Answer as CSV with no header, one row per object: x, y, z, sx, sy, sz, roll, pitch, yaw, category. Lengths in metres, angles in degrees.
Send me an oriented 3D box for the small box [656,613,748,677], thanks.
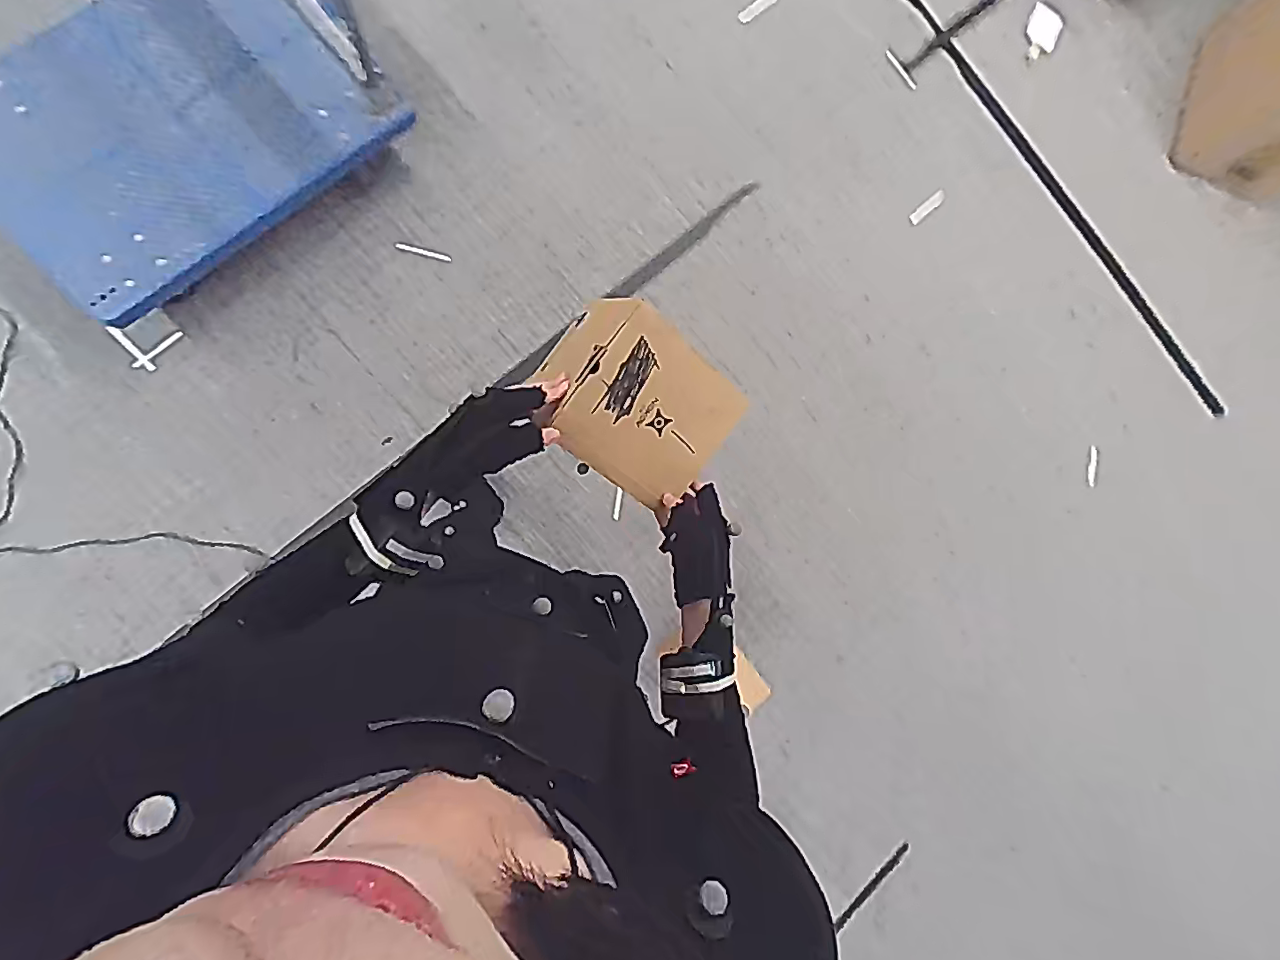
0.160,0.497,1.488,0.179,0.176,0.168,-45,96,-9,small box

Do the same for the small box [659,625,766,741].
0.171,0.486,1.325,0.168,0.176,0.179,-38,96,-9,small box
